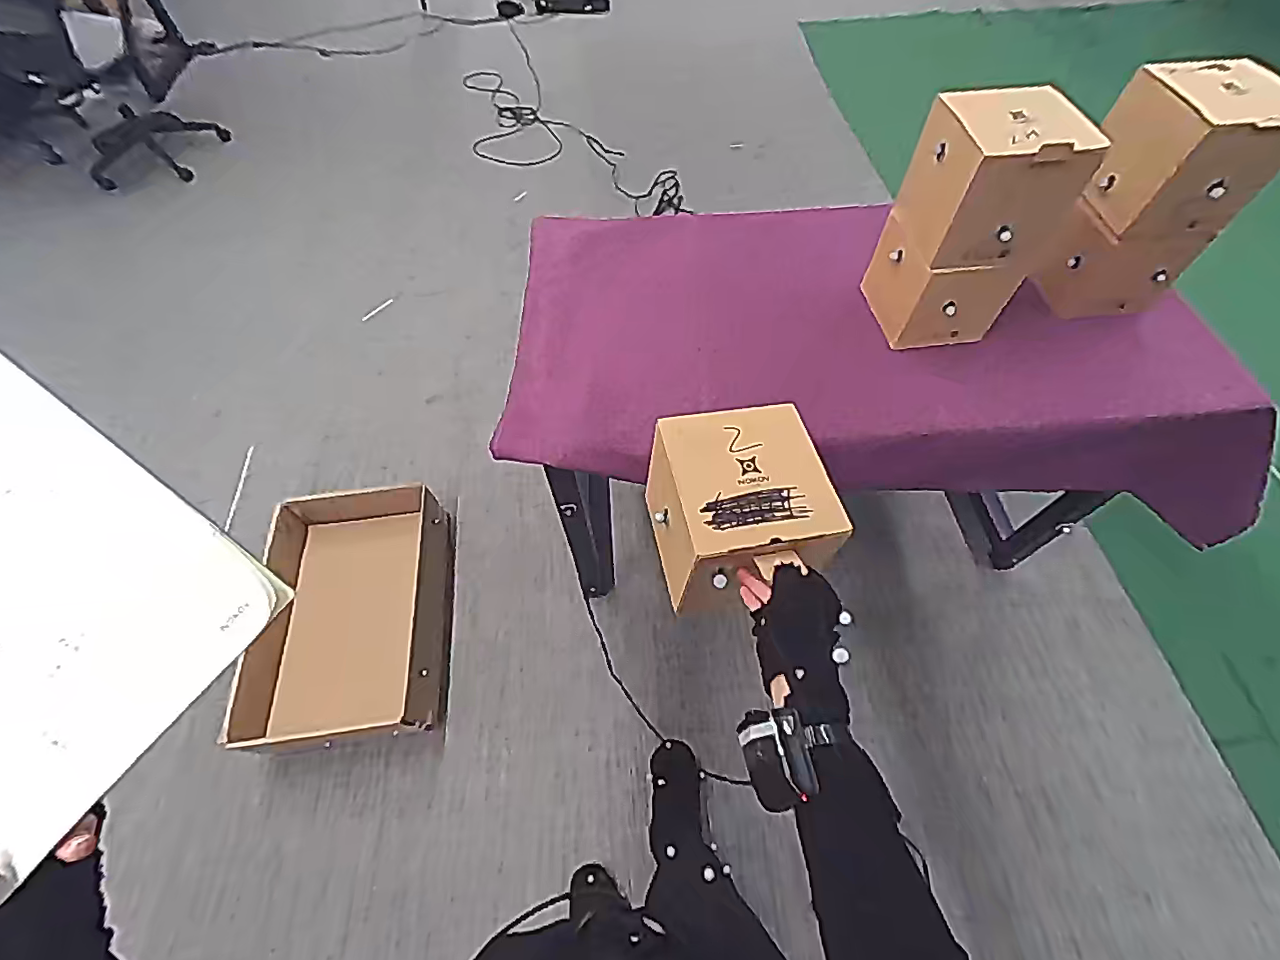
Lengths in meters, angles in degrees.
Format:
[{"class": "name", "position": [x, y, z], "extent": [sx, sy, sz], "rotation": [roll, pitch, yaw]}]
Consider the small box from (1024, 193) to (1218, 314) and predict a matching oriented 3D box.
[{"class": "small box", "position": [0.828, -0.412, 0.962], "extent": [0.168, 0.176, 0.179], "rotation": [-4, 59, -1]}]

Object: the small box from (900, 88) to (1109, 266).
[{"class": "small box", "position": [0.512, -0.442, 0.797], "extent": [0.168, 0.176, 0.179], "rotation": [-4, 59, 0]}]

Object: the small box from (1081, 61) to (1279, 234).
[{"class": "small box", "position": [0.819, -0.495, 0.821], "extent": [0.168, 0.176, 0.179], "rotation": [-3, 60, -2]}]

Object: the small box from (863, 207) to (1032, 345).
[{"class": "small box", "position": [0.514, -0.351, 0.935], "extent": [0.168, 0.176, 0.179], "rotation": [-6, 58, -2]}]
